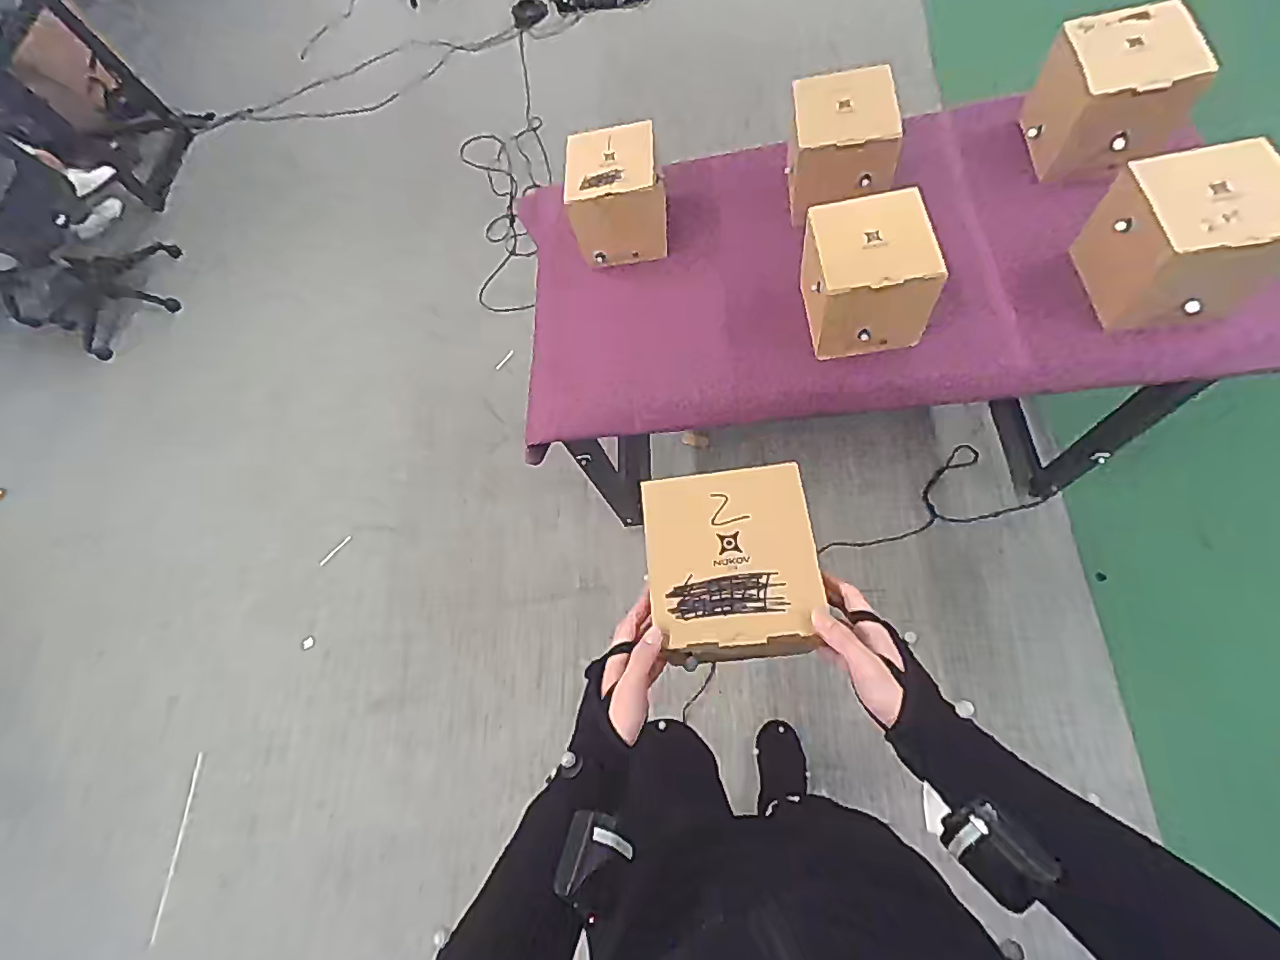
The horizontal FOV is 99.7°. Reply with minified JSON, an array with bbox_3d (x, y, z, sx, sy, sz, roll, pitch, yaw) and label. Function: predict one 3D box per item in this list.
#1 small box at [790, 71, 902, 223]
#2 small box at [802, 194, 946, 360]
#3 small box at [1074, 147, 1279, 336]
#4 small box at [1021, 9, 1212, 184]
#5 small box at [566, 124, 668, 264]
[{"bbox_3d":[0.368,-0.598,0.995,0.168,0.176,0.179,-1,68,11],"label":"small box"},{"bbox_3d":[0.365,-0.322,0.882,0.168,0.176,0.179,-7,66,9],"label":"small box"},{"bbox_3d":[0.787,-0.341,0.794,0.168,0.176,0.179,-5,66,12],"label":"small box"},{"bbox_3d":[0.785,-0.632,0.915,0.168,0.176,0.179,-3,70,11],"label":"small box"},{"bbox_3d":[-0.036,-0.546,1.058,0.168,0.176,0.179,-4,67,10],"label":"small box"}]
